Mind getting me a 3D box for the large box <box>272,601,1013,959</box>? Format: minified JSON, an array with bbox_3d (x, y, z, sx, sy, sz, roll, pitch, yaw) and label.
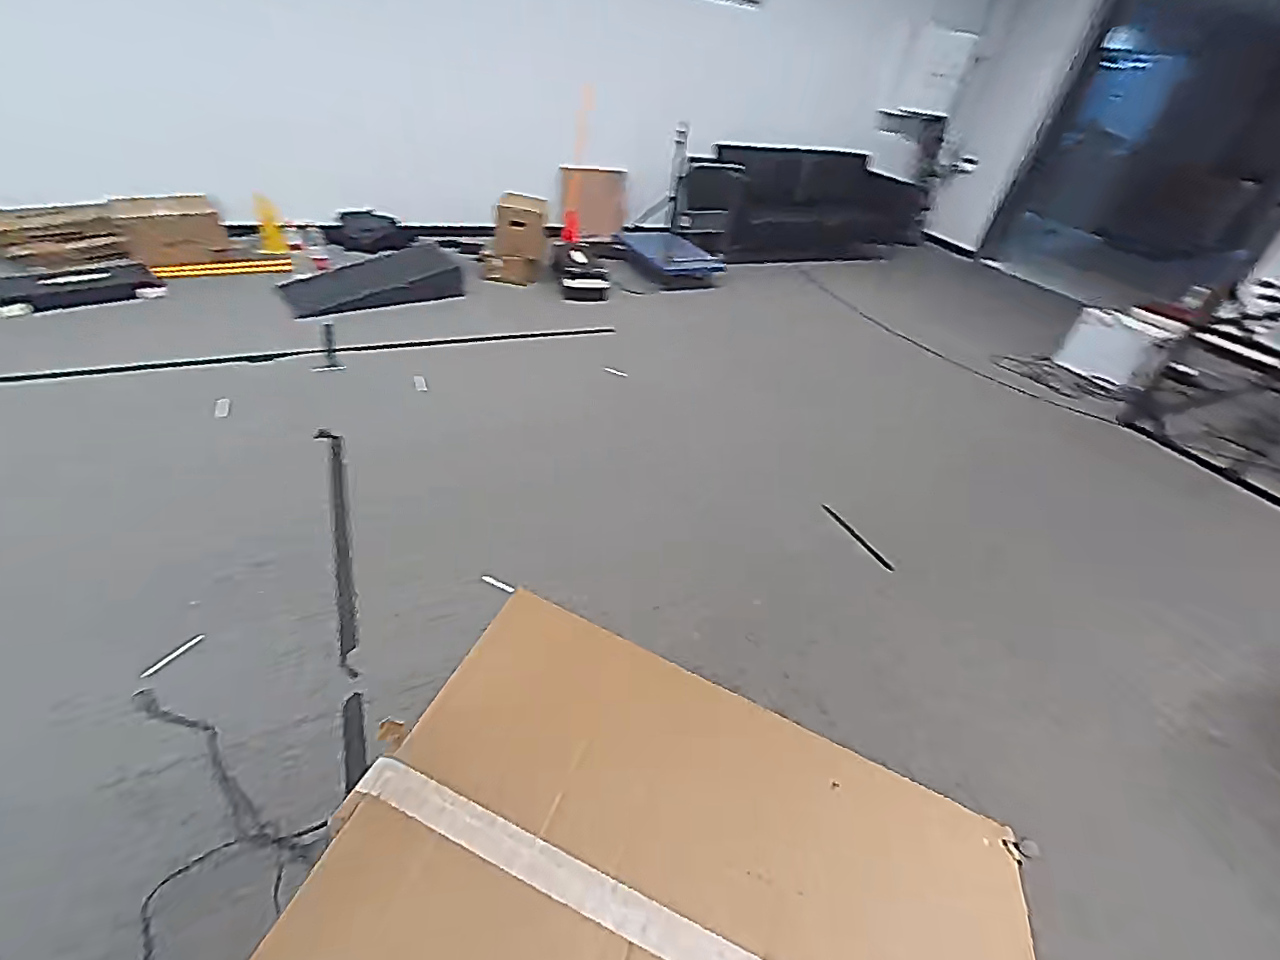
[{"bbox_3d":[-0.010,0.366,0.403,0.408,0.320,0.320,25,42,5],"label":"large box"}]
